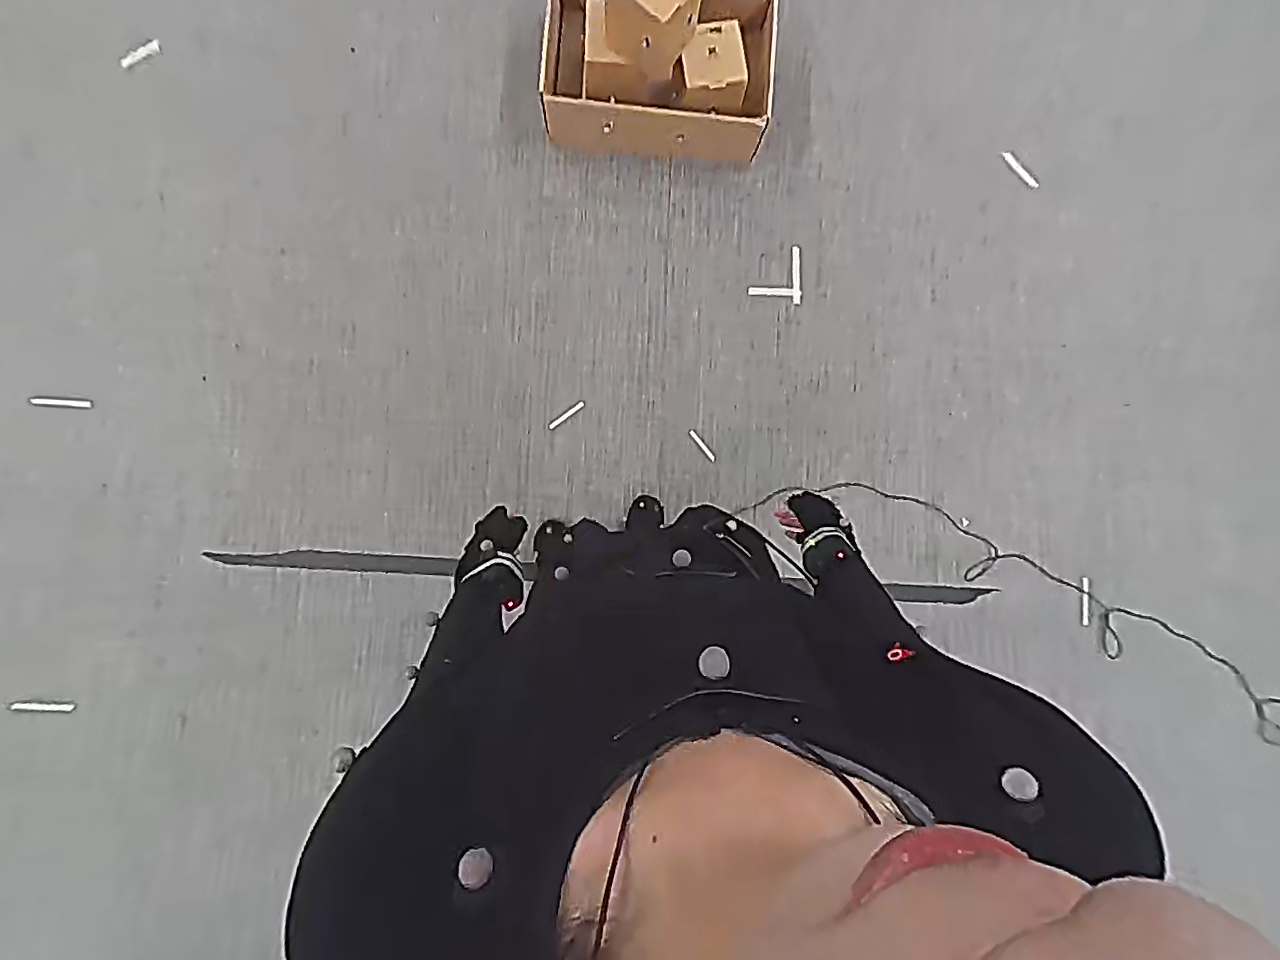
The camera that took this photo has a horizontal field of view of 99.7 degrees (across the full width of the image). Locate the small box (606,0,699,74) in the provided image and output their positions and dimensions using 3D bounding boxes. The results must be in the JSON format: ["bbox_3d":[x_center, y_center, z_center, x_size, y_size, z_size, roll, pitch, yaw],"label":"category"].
[{"bbox_3d":[0.033,-1.144,1.314,0.179,0.176,0.168,36,82,1],"label":"small box"}]

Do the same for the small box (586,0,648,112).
[{"bbox_3d":[-0.062,-1.151,1.471,0.168,0.176,0.179,2,86,-5],"label":"small box"}]
